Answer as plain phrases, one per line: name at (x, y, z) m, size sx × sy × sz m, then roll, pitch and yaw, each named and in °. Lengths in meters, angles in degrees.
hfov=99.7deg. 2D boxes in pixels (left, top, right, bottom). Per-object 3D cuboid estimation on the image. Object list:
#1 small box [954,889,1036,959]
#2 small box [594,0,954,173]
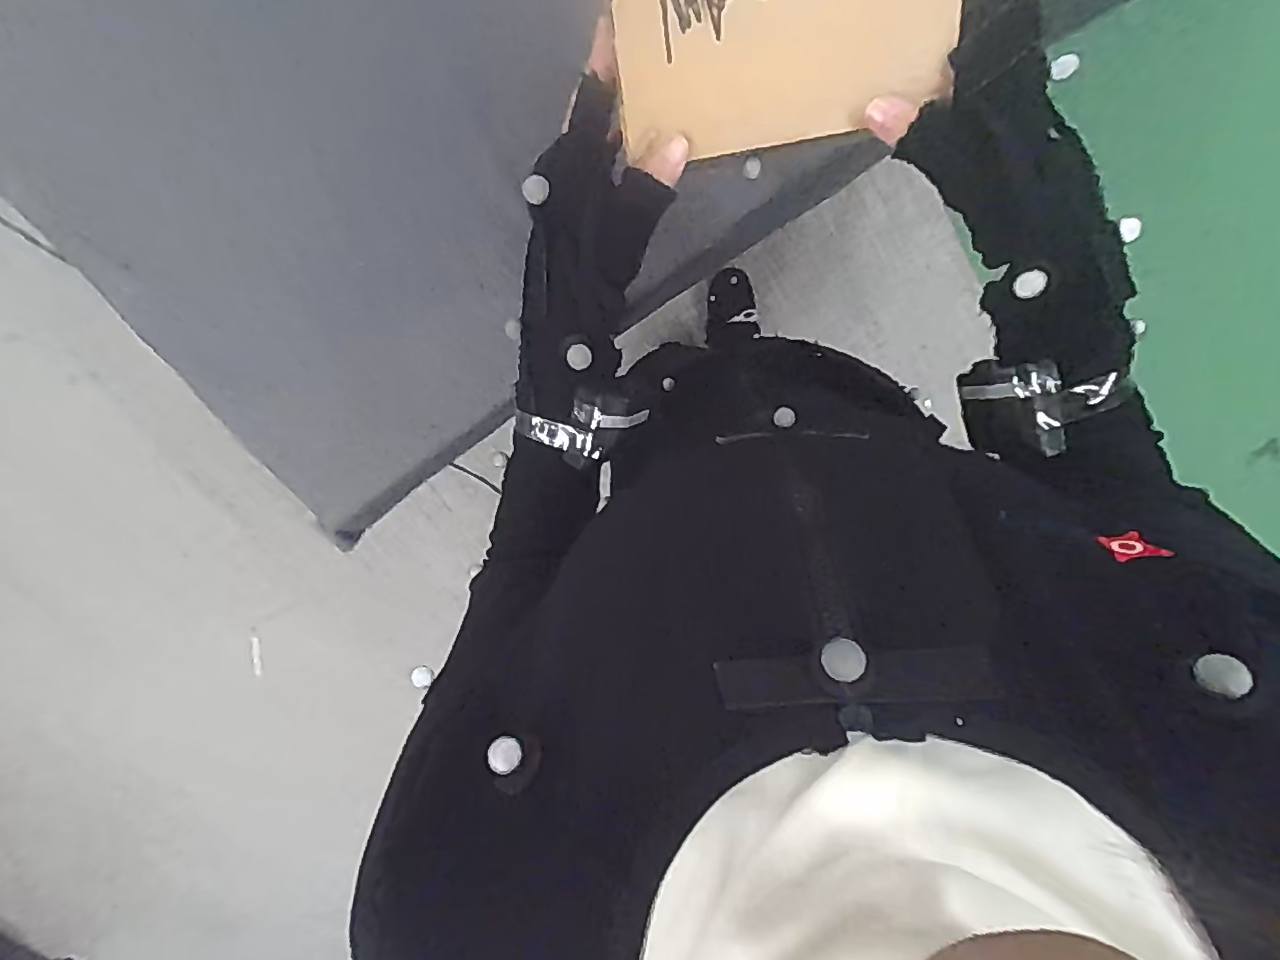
small box at (1.242, 1.597, 1.903) m, size 0.179 × 0.176 × 0.168 m, roll -30°, pitch 106°, yaw 11°
small box at (0.065, -0.291, 0.325) m, size 0.179 × 0.176 × 0.168 m, roll -6°, pitch 118°, yaw 6°
